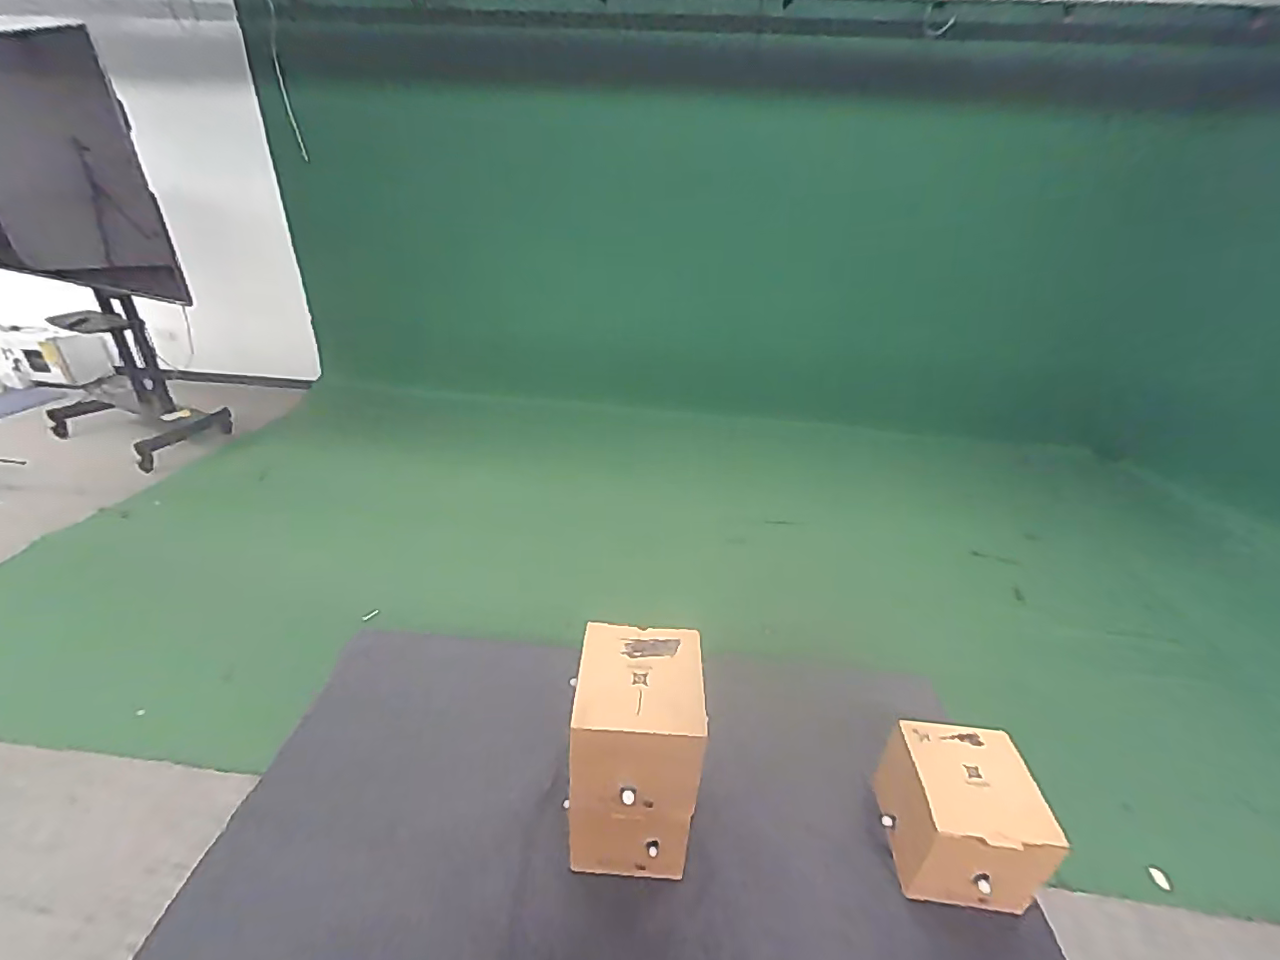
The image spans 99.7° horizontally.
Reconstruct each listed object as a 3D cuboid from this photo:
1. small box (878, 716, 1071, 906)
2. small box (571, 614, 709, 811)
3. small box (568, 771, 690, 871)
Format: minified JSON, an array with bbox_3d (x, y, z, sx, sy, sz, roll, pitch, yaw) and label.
[{"bbox_3d":[0.472,0.486,0.797,0.168,0.176,0.179,5,30,5],"label":"small box"},{"bbox_3d":[-0.002,0.311,0.737,0.168,0.176,0.179,4,30,0],"label":"small box"},{"bbox_3d":[-0.013,0.453,0.819,0.168,0.176,0.179,5,28,1],"label":"small box"}]
